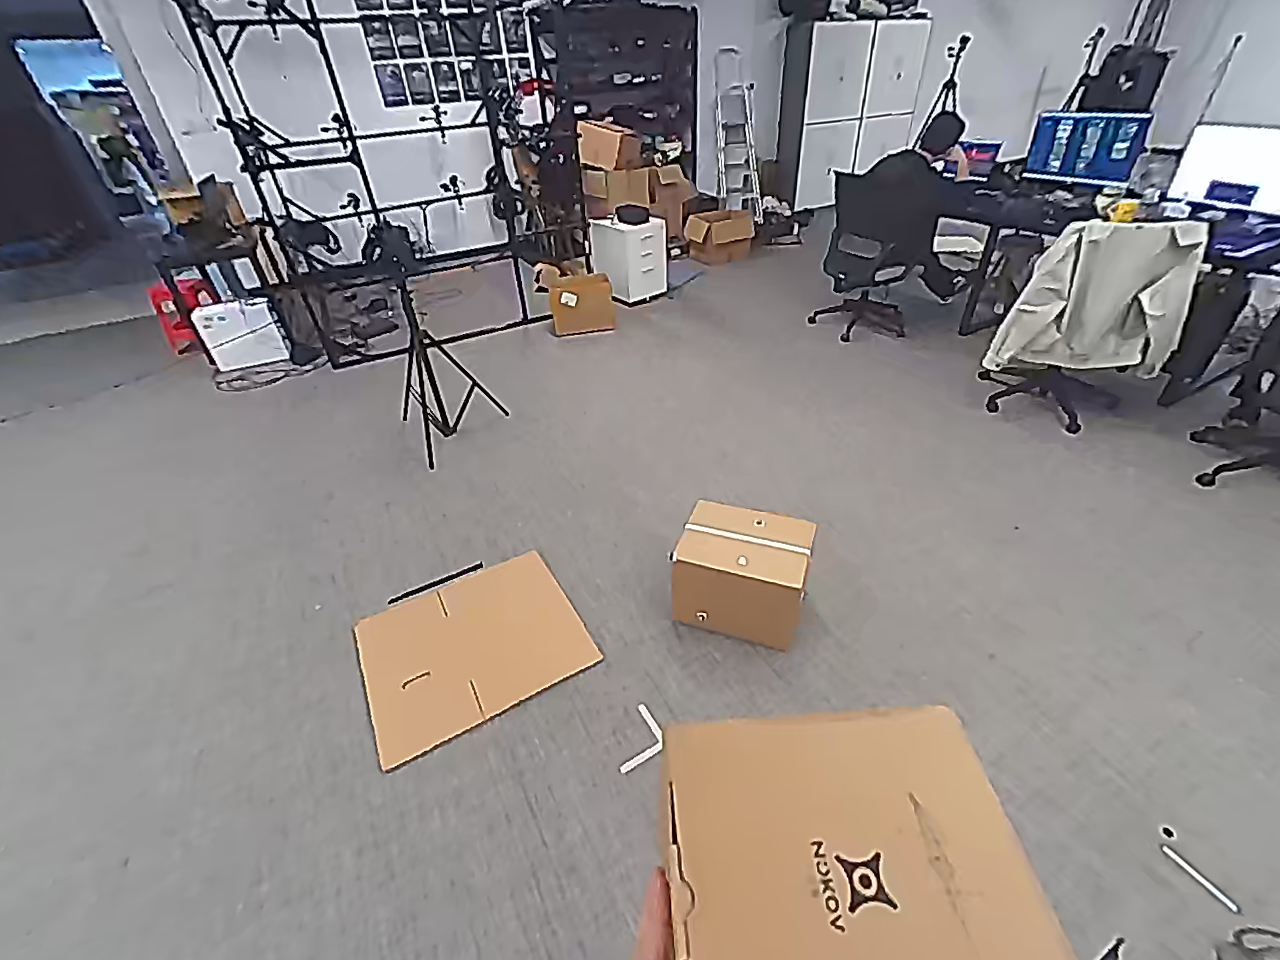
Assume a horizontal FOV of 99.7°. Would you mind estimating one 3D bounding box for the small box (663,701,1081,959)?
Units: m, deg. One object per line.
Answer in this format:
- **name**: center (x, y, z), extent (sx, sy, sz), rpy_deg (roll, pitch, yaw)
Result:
- **small box**: center (0.108, 0.251, 0.317), extent (0.179, 0.176, 0.168), rpy_deg (-3, 44, -3)
